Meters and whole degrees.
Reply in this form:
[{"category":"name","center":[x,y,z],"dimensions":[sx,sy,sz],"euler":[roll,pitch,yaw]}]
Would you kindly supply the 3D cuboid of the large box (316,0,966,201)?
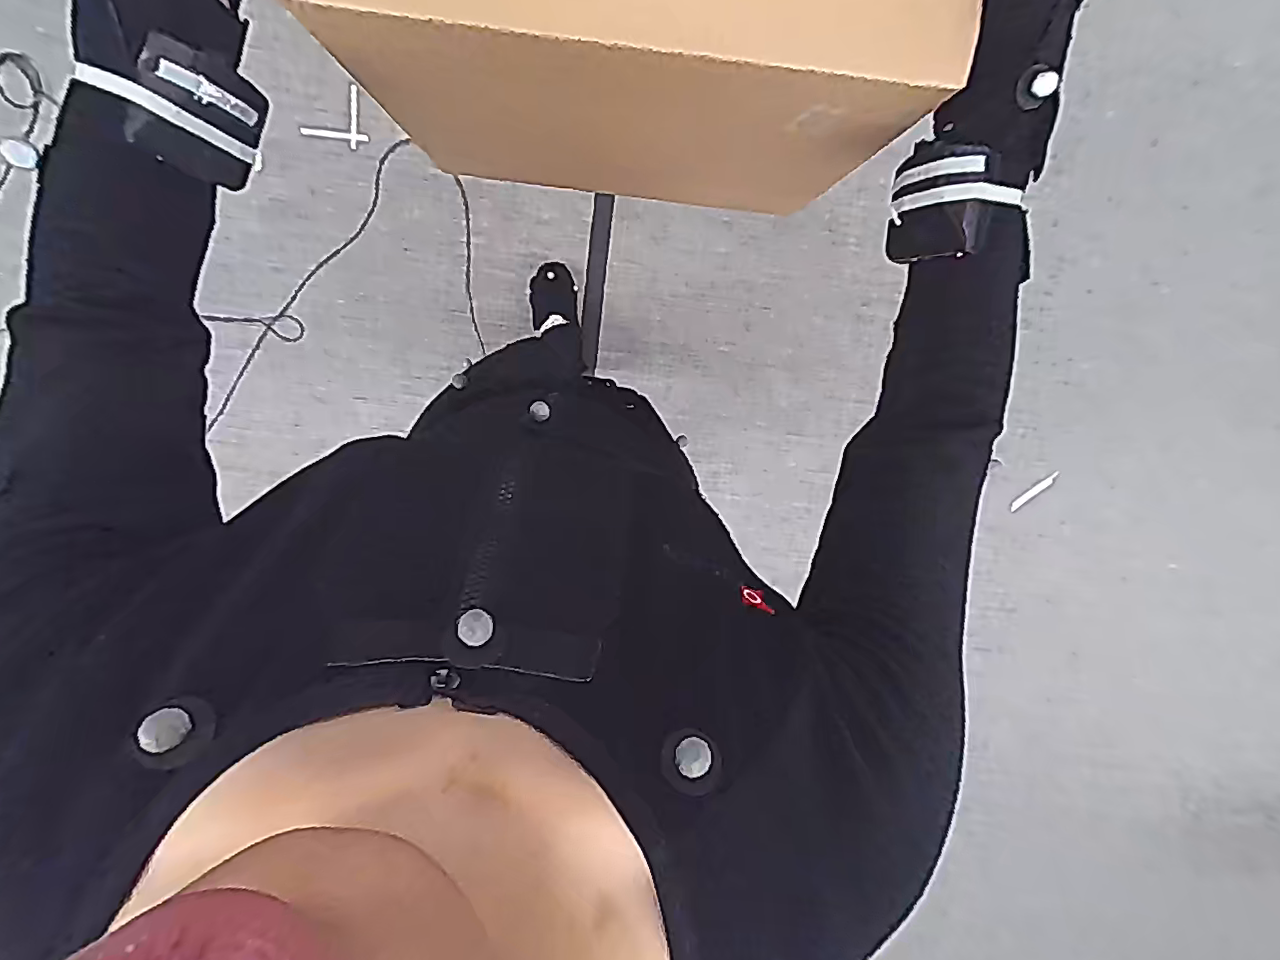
[{"category":"large box","center":[0.001,-0.448,0.436],"dimensions":[0.408,0.320,0.320],"euler":[4,104,-5]}]
